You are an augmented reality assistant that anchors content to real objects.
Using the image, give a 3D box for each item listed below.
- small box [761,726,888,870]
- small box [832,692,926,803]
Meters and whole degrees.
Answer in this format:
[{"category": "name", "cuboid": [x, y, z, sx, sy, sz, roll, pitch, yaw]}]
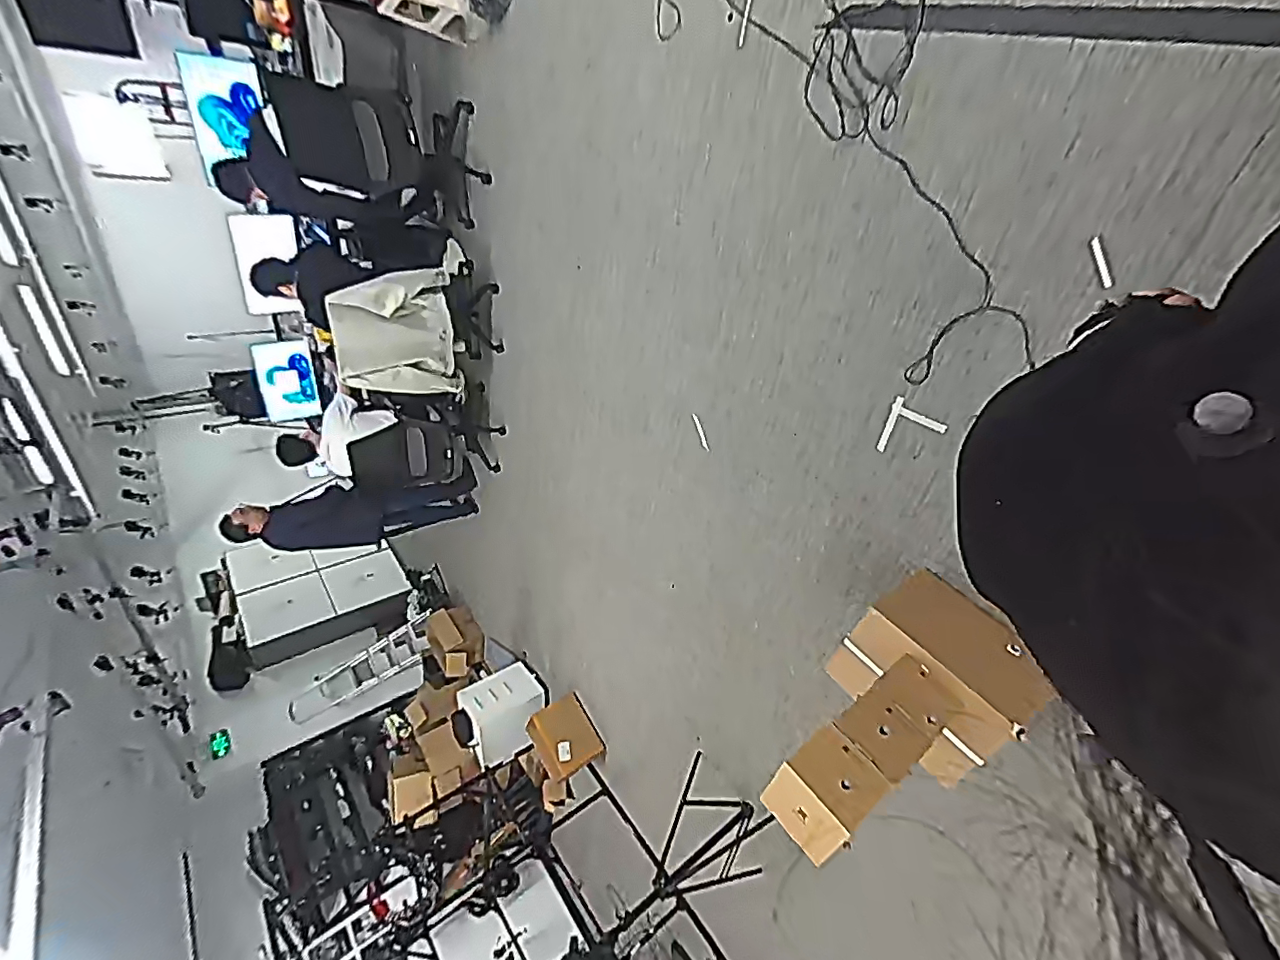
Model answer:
[{"category": "small box", "cuboid": [0.393, 0.664, 1.146, 0.168, 0.176, 0.179, 42, 136, 34]}, {"category": "small box", "cuboid": [0.520, 0.626, 1.241, 0.168, 0.176, 0.179, 44, 136, 33]}]
